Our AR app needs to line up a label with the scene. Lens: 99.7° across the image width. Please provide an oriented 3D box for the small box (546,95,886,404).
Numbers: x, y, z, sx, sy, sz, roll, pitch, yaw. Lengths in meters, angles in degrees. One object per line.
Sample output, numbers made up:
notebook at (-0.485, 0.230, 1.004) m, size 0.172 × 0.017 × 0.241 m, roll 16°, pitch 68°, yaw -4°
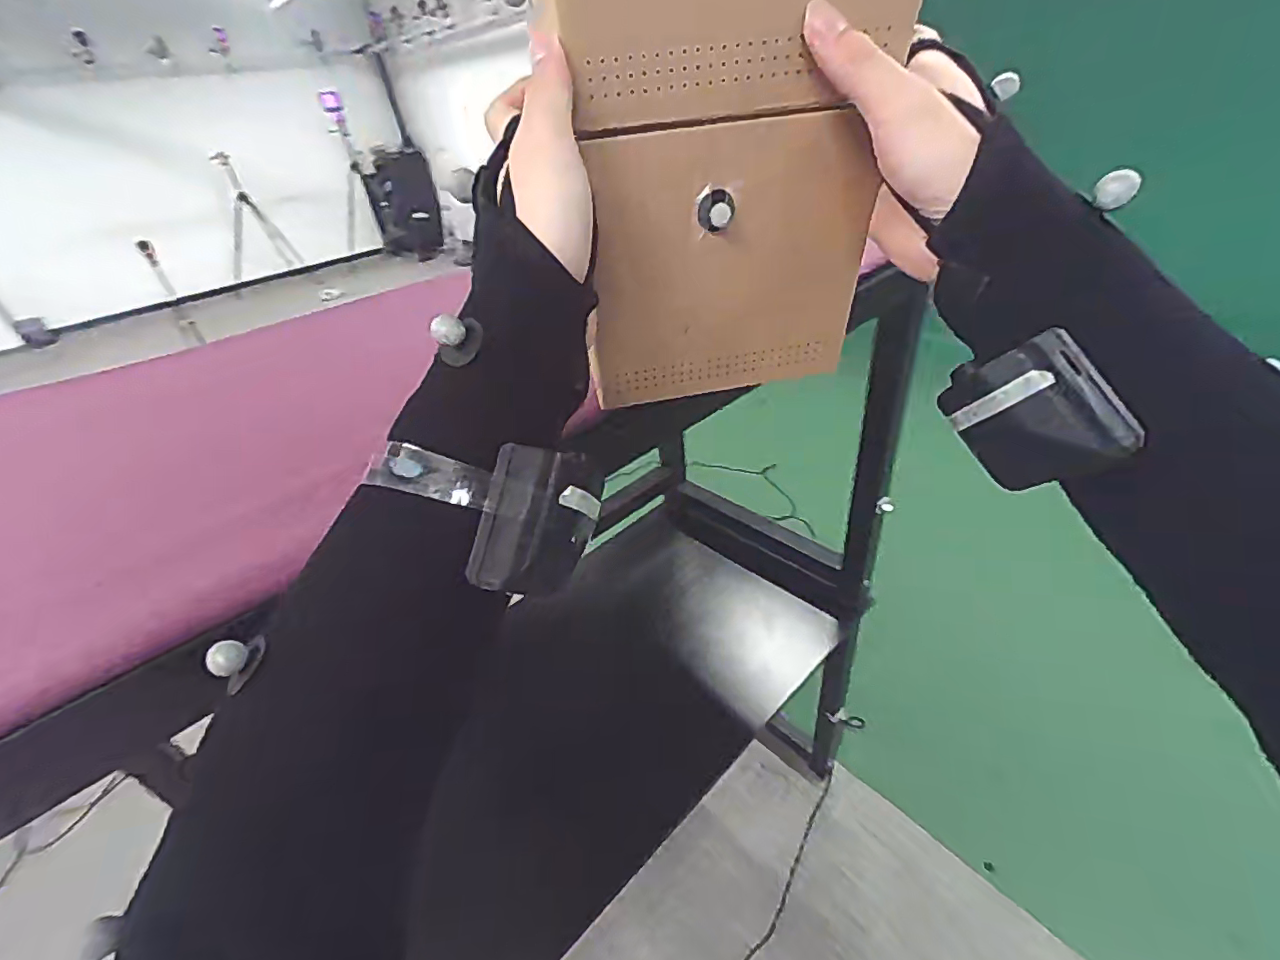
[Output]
small box at (0.038, -0.171, 0.385) m, size 0.179 × 0.176 × 0.168 m, roll -10°, pitch 46°, yaw -4°
